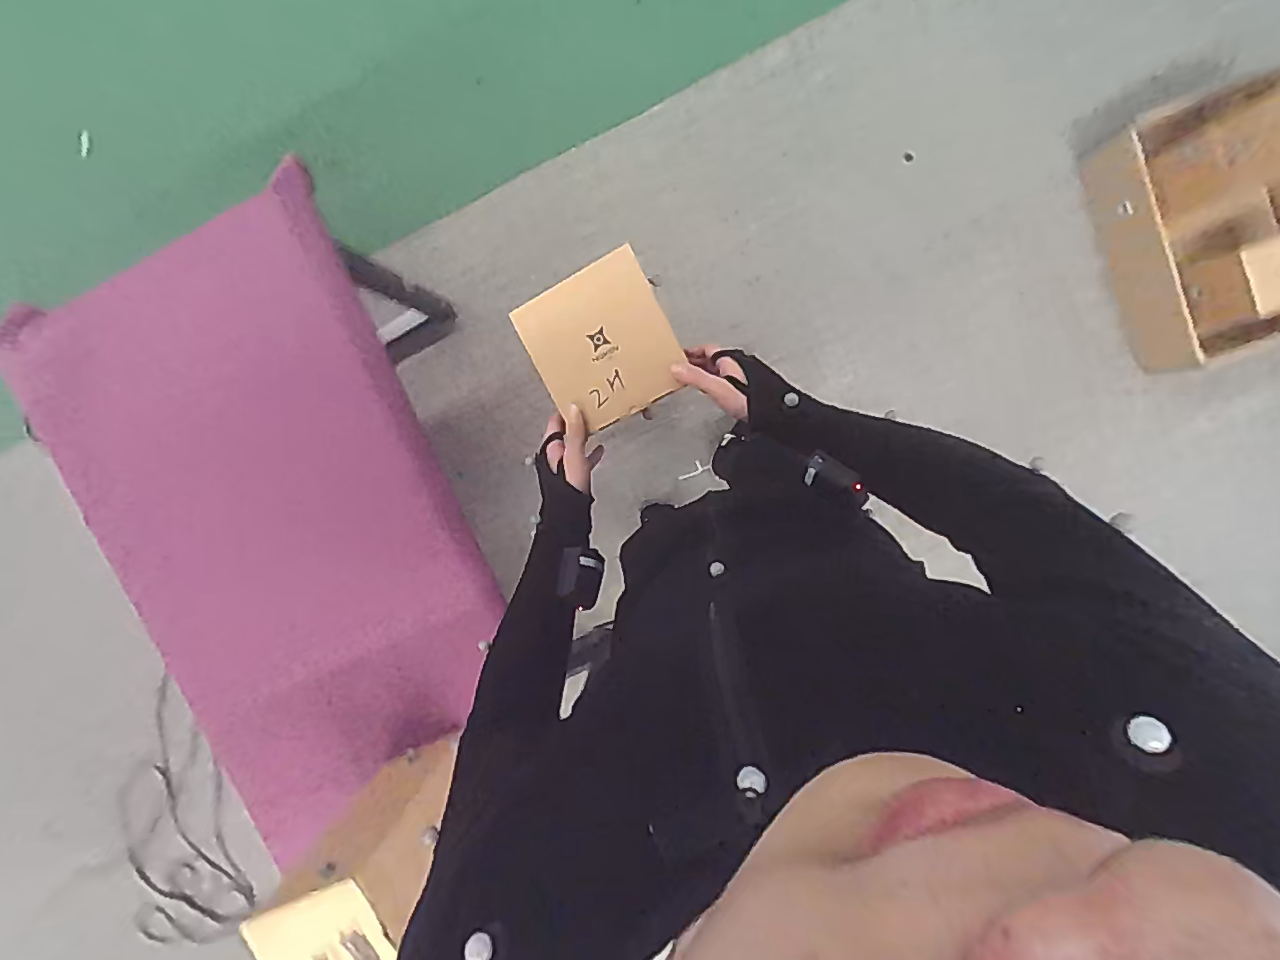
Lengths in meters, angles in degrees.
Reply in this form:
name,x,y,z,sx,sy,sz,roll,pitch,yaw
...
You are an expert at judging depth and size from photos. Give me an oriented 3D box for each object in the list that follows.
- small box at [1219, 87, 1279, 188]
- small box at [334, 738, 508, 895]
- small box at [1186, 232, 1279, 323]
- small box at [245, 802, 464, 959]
name,x,y,z,sx,sy,sz,roll,pitch,yaw
small box,1.404,-0.755,1.137,0.179,0.176,0.168,-20,94,6
small box,-0.350,0.569,0.896,0.179,0.176,0.168,-27,93,7
small box,1.513,-0.502,1.316,0.179,0.176,0.168,-20,92,7
small box,-0.364,0.583,0.732,0.179,0.176,0.168,-27,92,7
